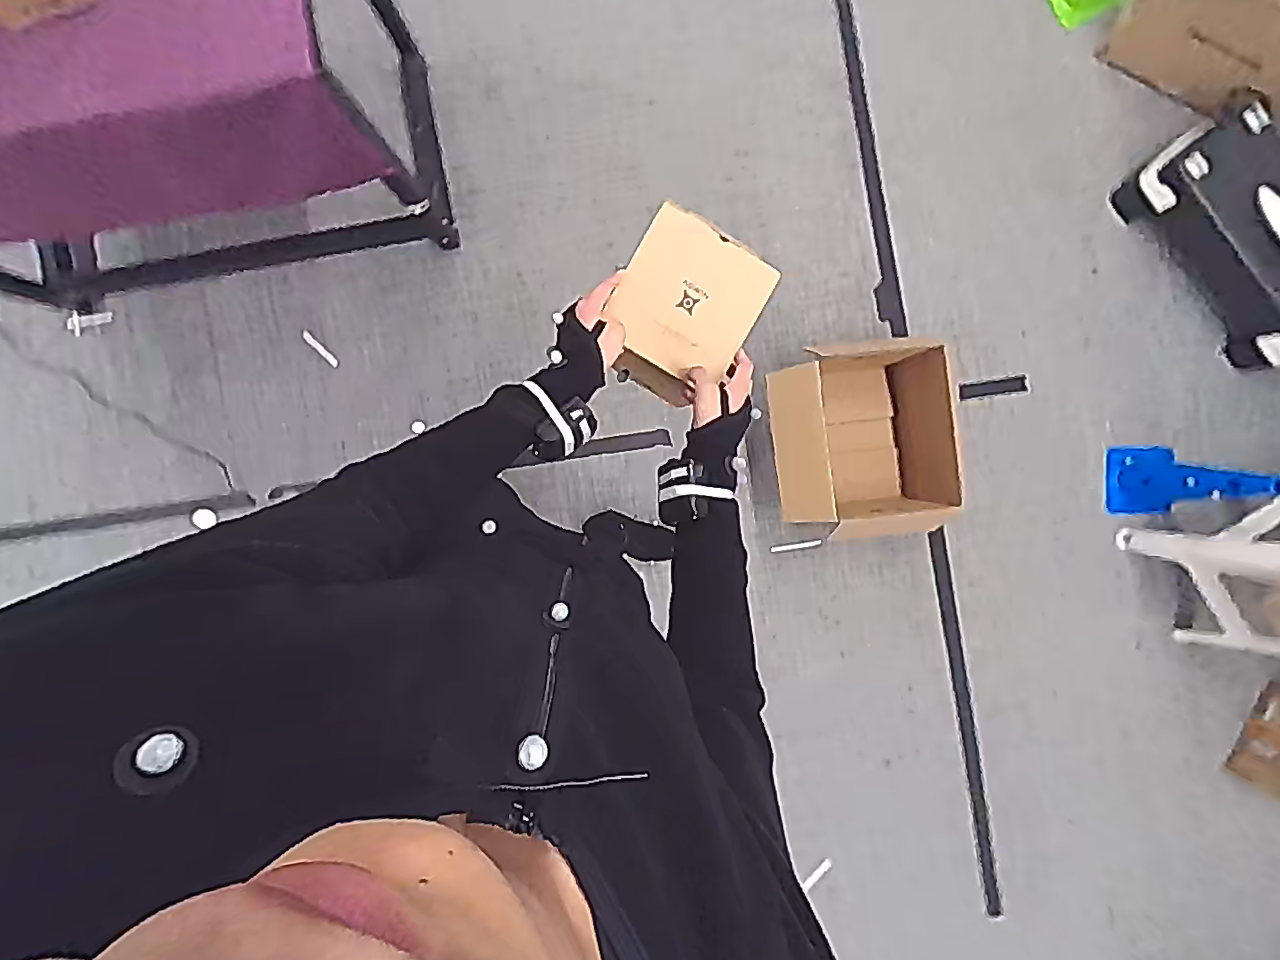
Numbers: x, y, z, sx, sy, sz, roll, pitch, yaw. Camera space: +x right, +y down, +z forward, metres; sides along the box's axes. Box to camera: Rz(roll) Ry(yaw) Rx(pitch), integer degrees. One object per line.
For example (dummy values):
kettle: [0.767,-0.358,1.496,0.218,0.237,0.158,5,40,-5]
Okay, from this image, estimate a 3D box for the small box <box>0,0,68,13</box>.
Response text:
small box: [-0.973,-0.845,0.796,0.168,0.176,0.179,-19,91,0]

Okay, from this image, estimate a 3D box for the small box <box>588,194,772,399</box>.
small box: [0.039,-0.226,0.718,0.168,0.176,0.179,29,88,-9]
